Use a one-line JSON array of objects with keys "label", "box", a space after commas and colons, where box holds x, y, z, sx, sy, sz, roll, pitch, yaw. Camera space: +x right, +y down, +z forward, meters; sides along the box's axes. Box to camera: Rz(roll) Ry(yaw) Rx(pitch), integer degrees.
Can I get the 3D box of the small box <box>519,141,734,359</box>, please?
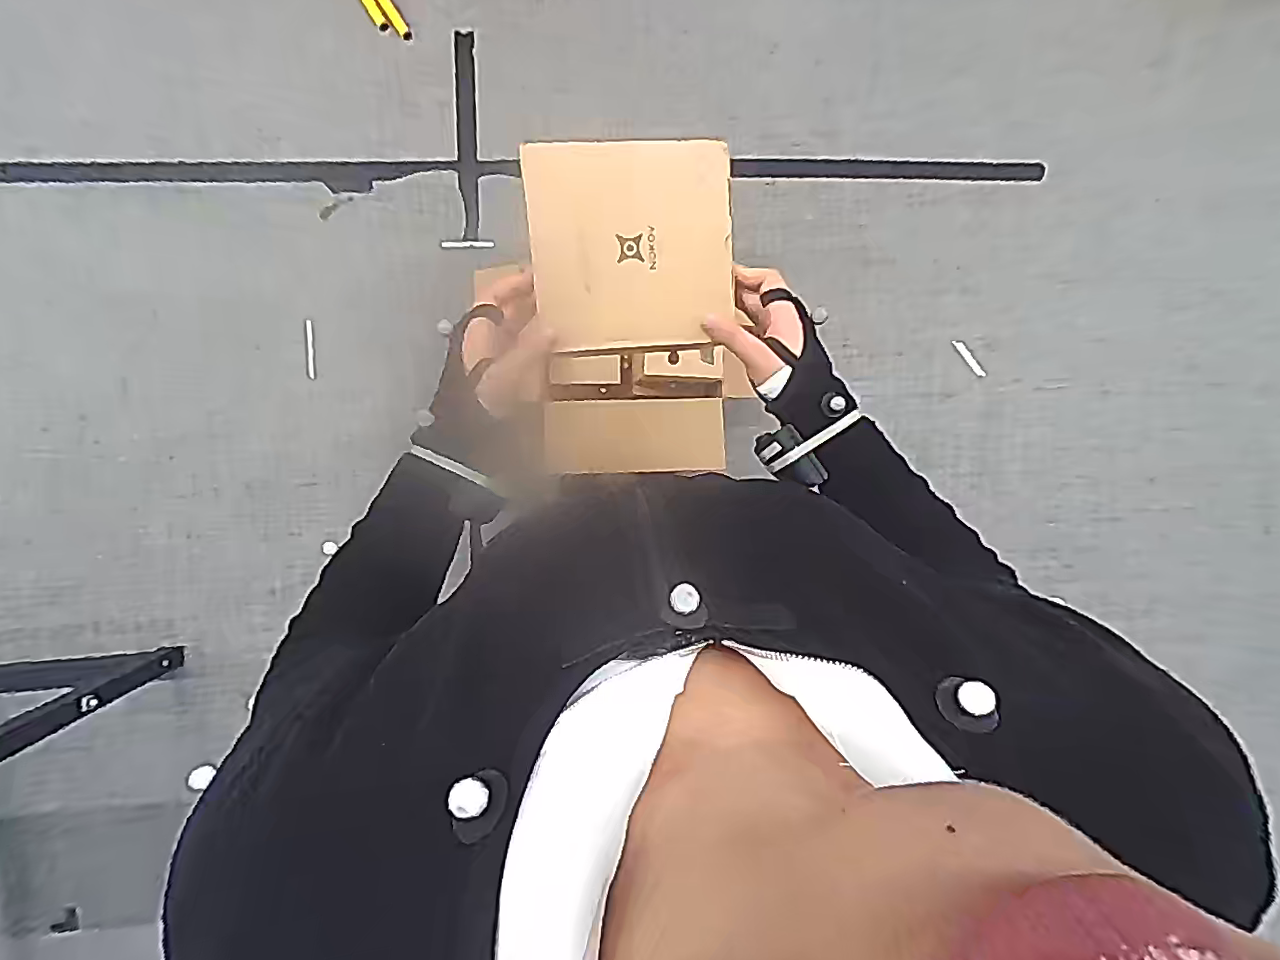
[{"label": "small box", "box": [-0.018, -0.211, 0.535, 0.179, 0.176, 0.168, -6, 100, -6]}]
